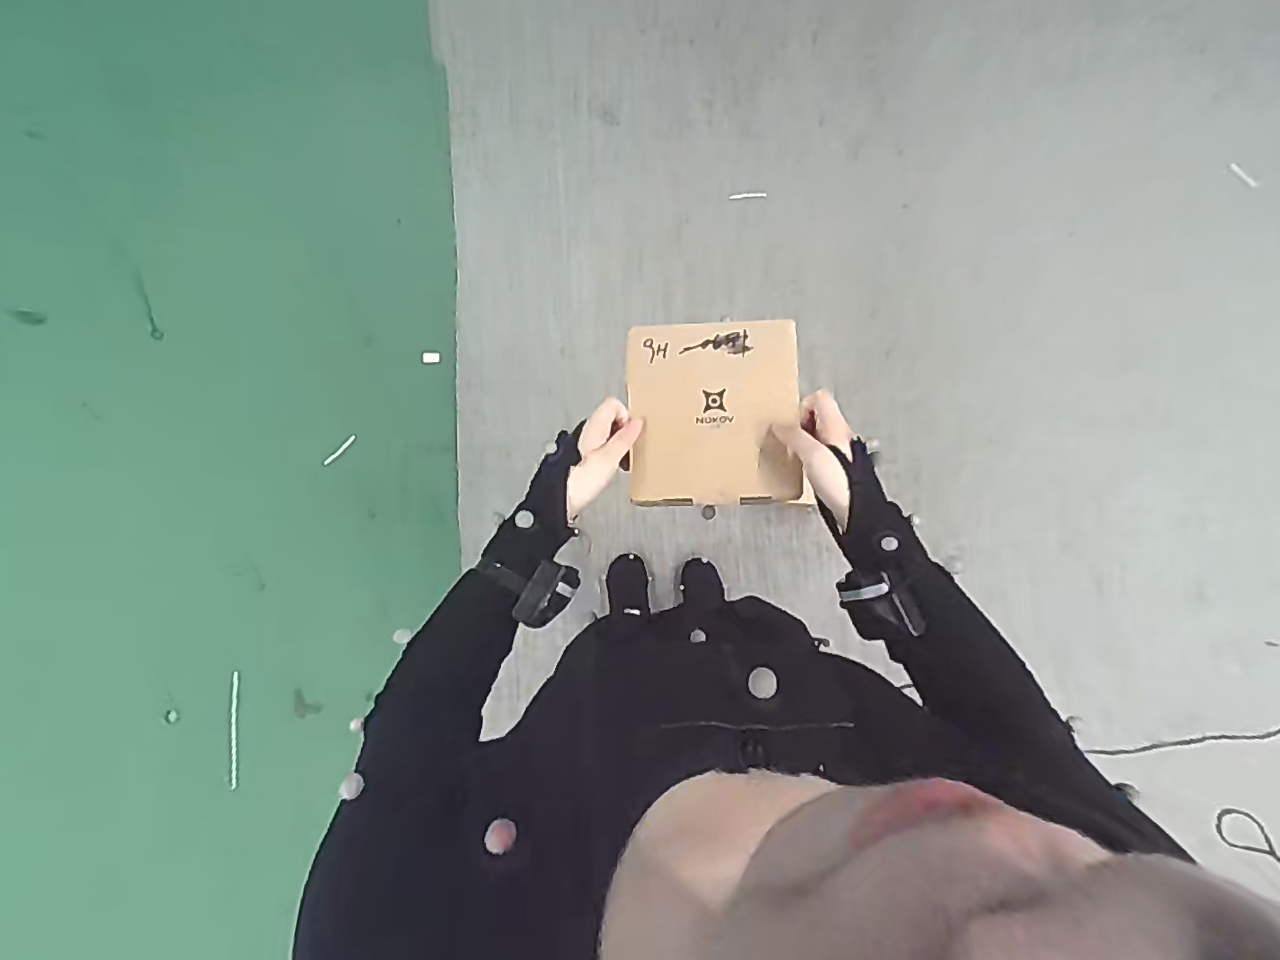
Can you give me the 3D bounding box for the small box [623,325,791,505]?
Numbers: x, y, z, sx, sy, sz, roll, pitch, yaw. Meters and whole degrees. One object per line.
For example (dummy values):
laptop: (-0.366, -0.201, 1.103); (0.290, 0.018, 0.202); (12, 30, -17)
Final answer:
small box: (0.071, -0.061, 0.607); (0.168, 0.176, 0.179); (-1, 87, 3)
